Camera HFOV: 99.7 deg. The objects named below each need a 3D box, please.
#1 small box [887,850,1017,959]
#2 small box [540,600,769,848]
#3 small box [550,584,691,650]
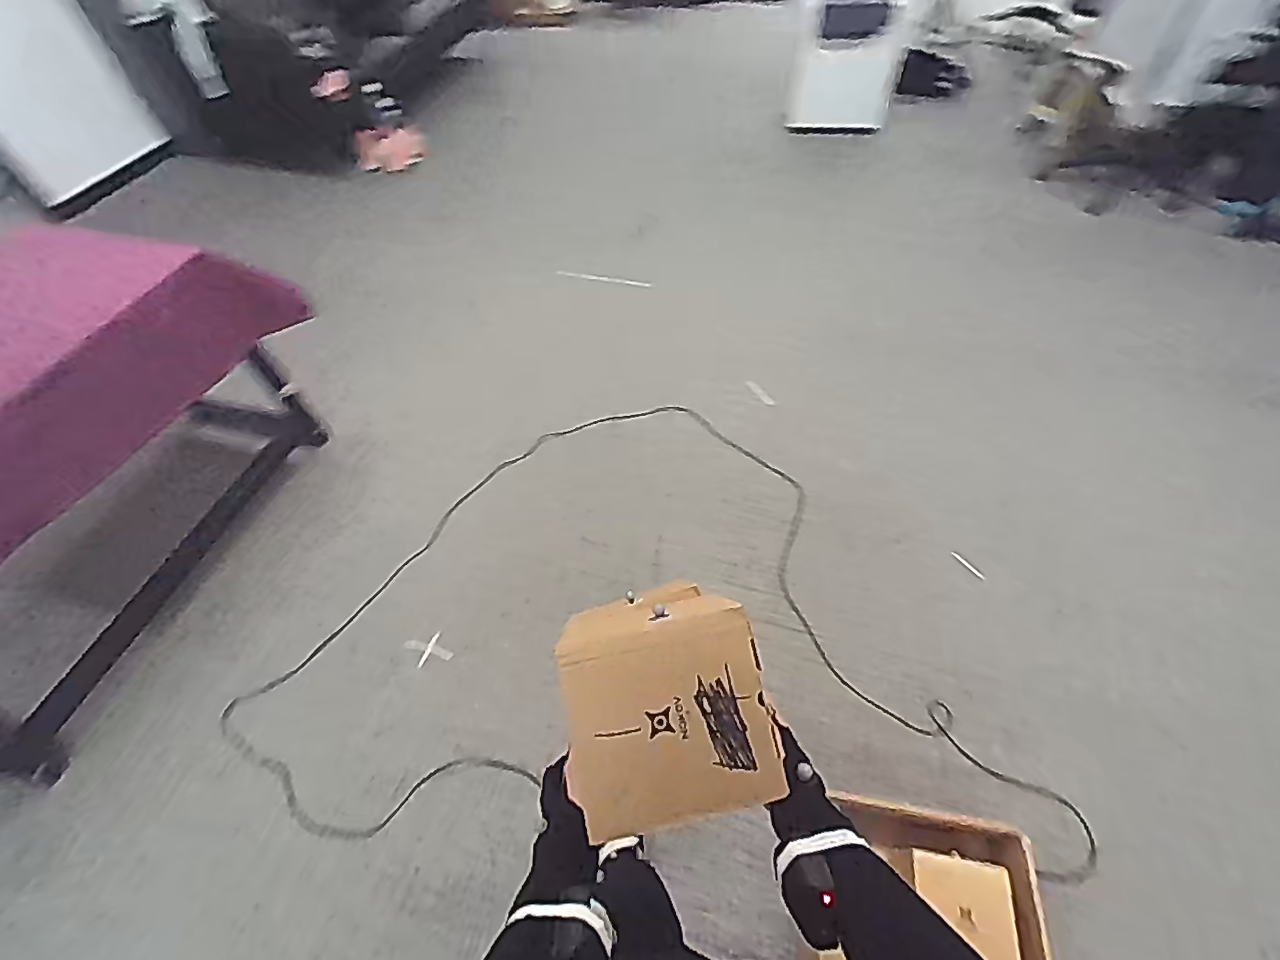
[{"bbox_3d":[0.584,0.827,1.033,0.168,0.176,0.179,7,58,10],"label":"small box"},{"bbox_3d":[0.008,0.224,0.548,0.179,0.176,0.168,-13,82,-4],"label":"small box"},{"bbox_3d":[-0.007,0.241,0.711,0.179,0.176,0.168,-18,83,-5],"label":"small box"}]
